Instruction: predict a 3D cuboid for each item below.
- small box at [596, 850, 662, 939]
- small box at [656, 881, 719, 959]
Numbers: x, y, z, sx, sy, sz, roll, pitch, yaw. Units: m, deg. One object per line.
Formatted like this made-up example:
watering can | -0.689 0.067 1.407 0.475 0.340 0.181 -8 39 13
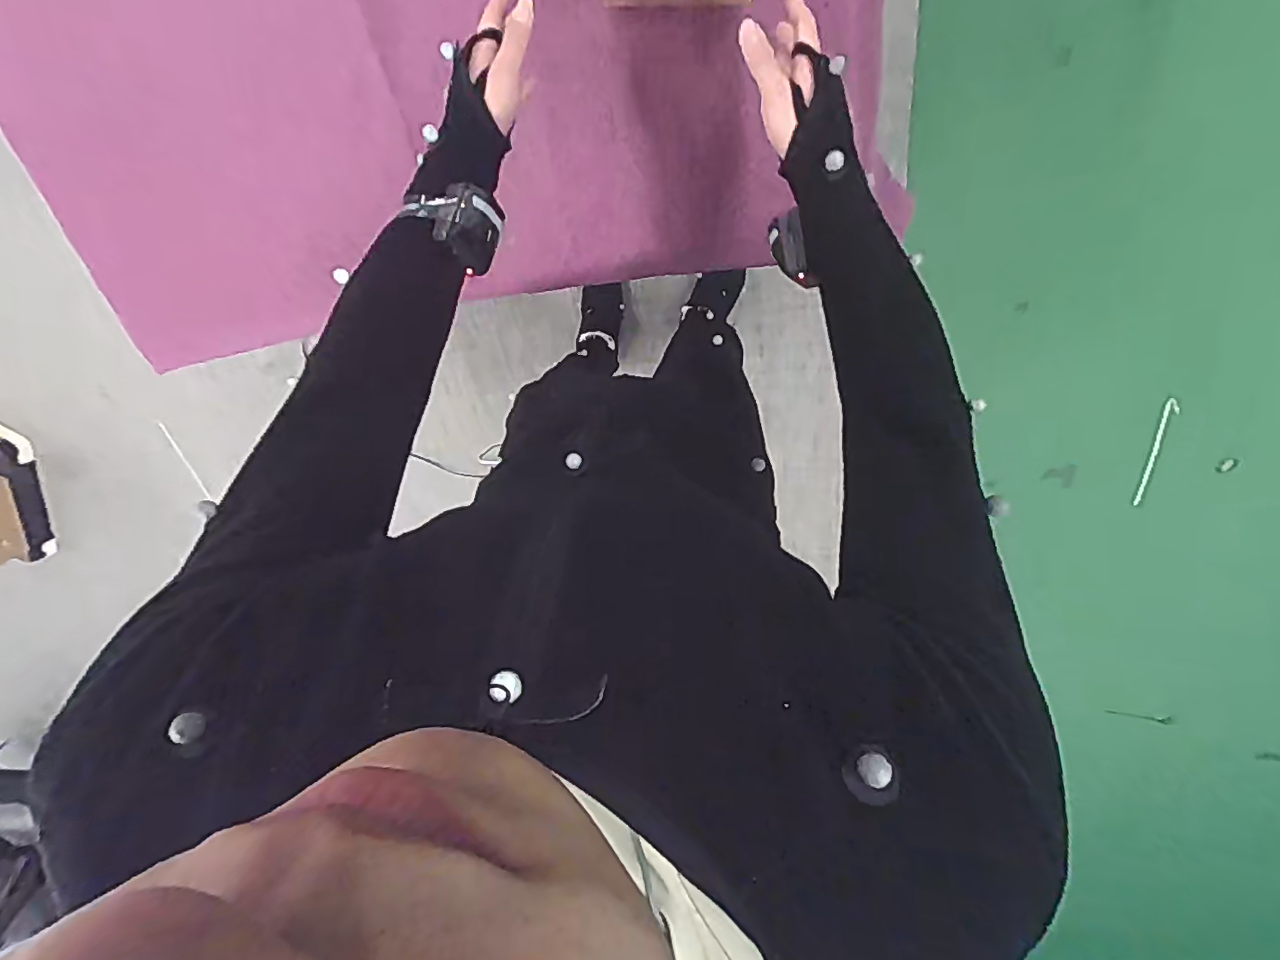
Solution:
small box | -0.030 1.318 1.727 0.168 0.176 0.179 -4 119 14
small box | 0.160 1.448 1.764 0.179 0.176 0.168 -2 118 14
